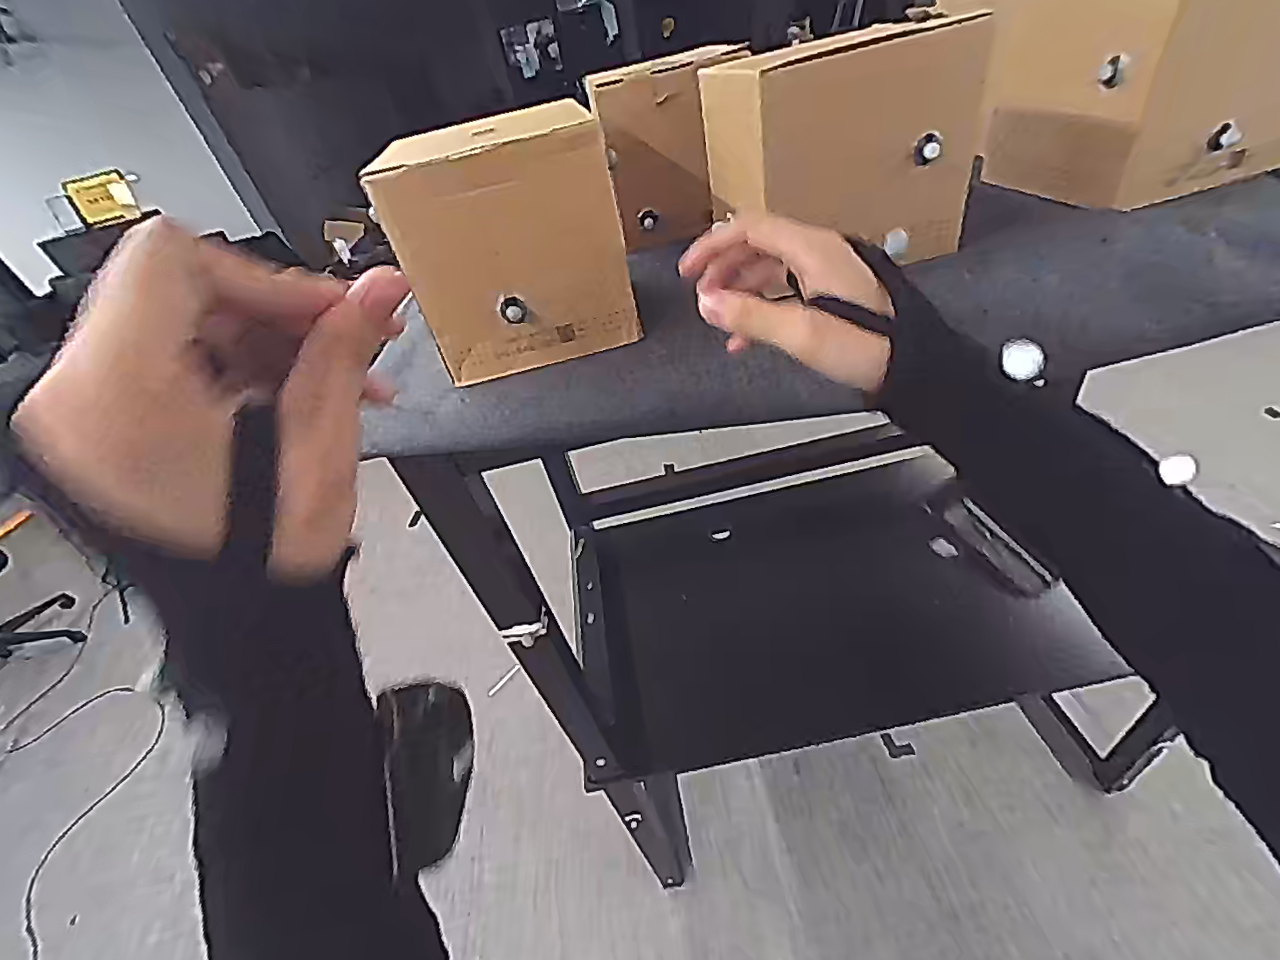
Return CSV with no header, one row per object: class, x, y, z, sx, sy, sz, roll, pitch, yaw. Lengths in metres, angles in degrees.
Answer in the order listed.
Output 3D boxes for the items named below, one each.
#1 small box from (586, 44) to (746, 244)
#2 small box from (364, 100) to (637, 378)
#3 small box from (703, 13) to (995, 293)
small box,0.037,-0.405,0.661,0.168,0.176,0.179,-13,39,1
small box,-0.108,-0.214,0.477,0.168,0.176,0.179,-15,40,-2
small box,0.165,-0.289,0.486,0.179,0.176,0.168,-14,37,-2
